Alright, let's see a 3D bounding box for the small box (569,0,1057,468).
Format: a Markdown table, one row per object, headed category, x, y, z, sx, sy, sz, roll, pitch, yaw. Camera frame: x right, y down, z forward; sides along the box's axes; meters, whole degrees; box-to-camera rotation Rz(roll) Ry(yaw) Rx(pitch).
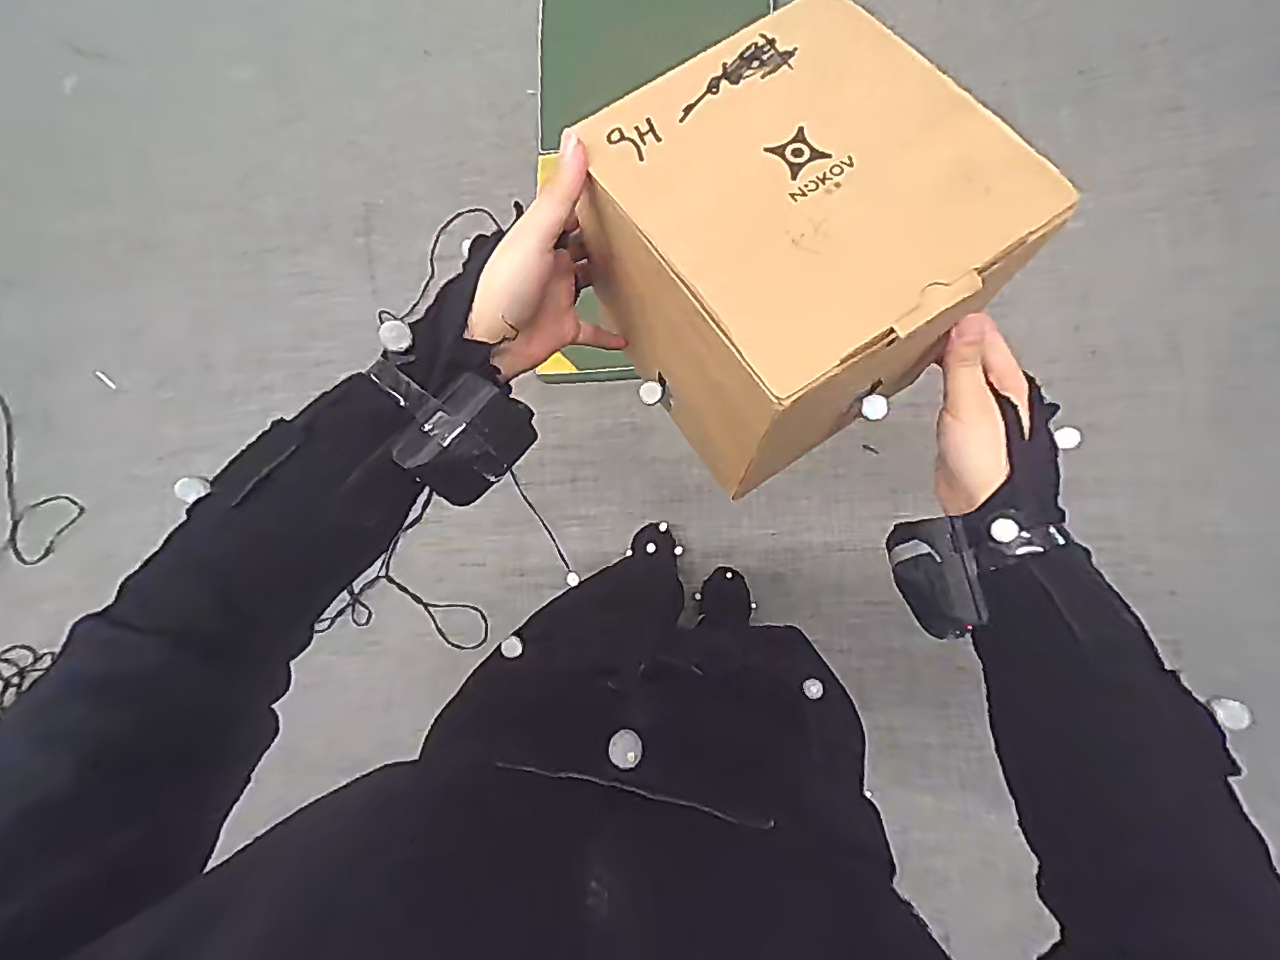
| category | x | y | z | sx | sy | sz | roll | pitch | yaw |
| --- | --- | --- | --- | --- | --- | --- | --- | --- | --- |
| small box | 0.081 | -0.124 | 0.333 | 0.168 | 0.176 | 0.179 | -33 | 76 | -7 |
